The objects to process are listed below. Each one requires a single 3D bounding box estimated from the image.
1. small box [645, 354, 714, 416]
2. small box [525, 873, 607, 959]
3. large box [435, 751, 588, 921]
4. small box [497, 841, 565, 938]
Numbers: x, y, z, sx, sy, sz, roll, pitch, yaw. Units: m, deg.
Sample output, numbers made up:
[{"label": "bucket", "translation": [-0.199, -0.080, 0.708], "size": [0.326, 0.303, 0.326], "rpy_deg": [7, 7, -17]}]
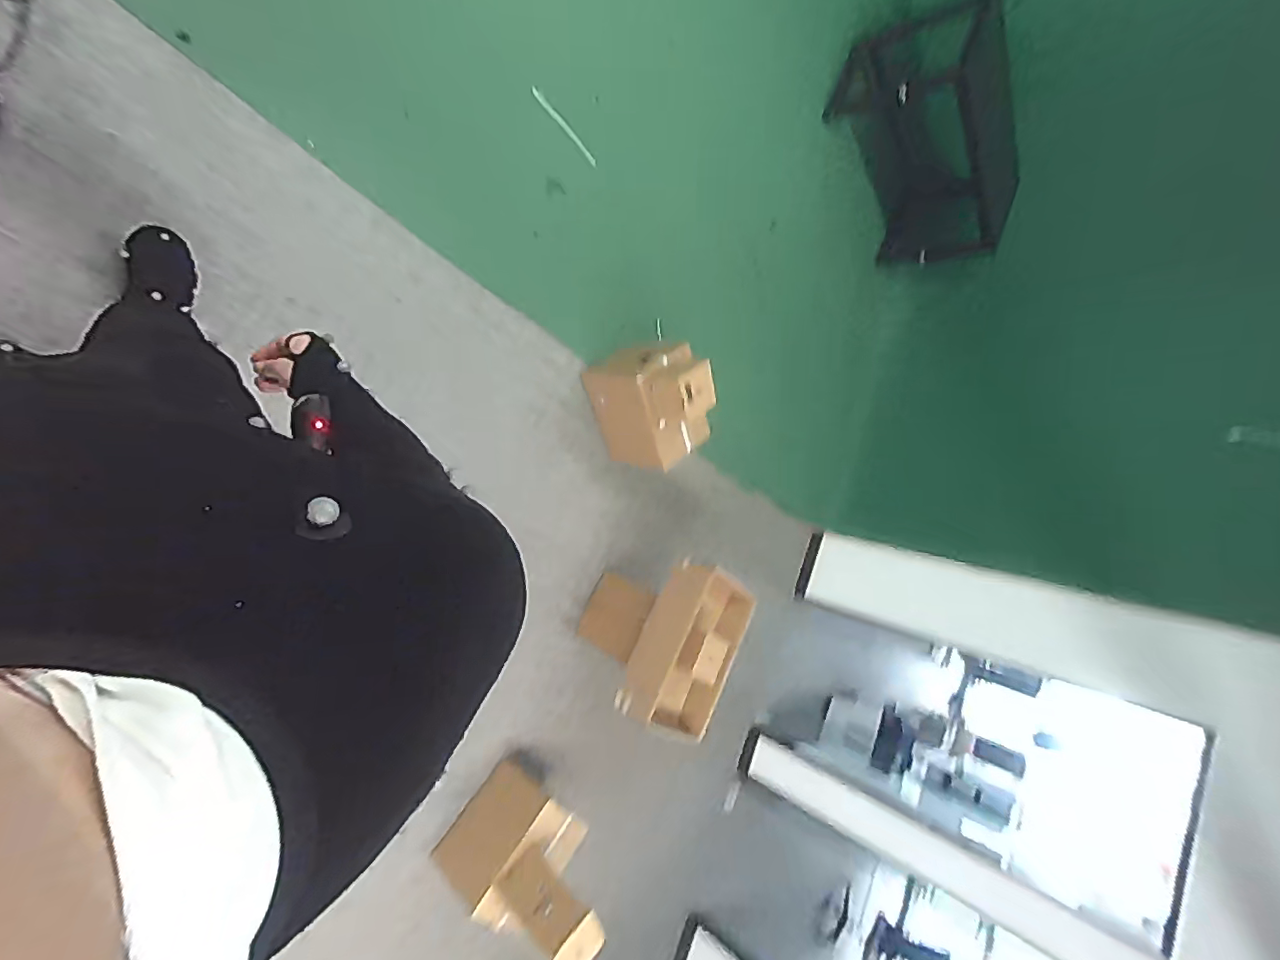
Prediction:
[{"label": "small box", "translation": [0.134, -0.342, 1.929], "size": [0.179, 0.176, 0.168], "rpy_deg": [-37, 126, -35]}, {"label": "small box", "translation": [-0.237, 1.405, 1.715], "size": [0.168, 0.176, 0.179], "rpy_deg": [-34, 121, -38]}, {"label": "large box", "translation": [-0.481, 1.334, 2.046], "size": [0.408, 0.320, 0.320], "rpy_deg": [-52, 133, -26]}, {"label": "small box", "translation": [-0.353, 1.377, 1.829], "size": [0.168, 0.176, 0.179], "rpy_deg": [-33, 121, -38]}]
